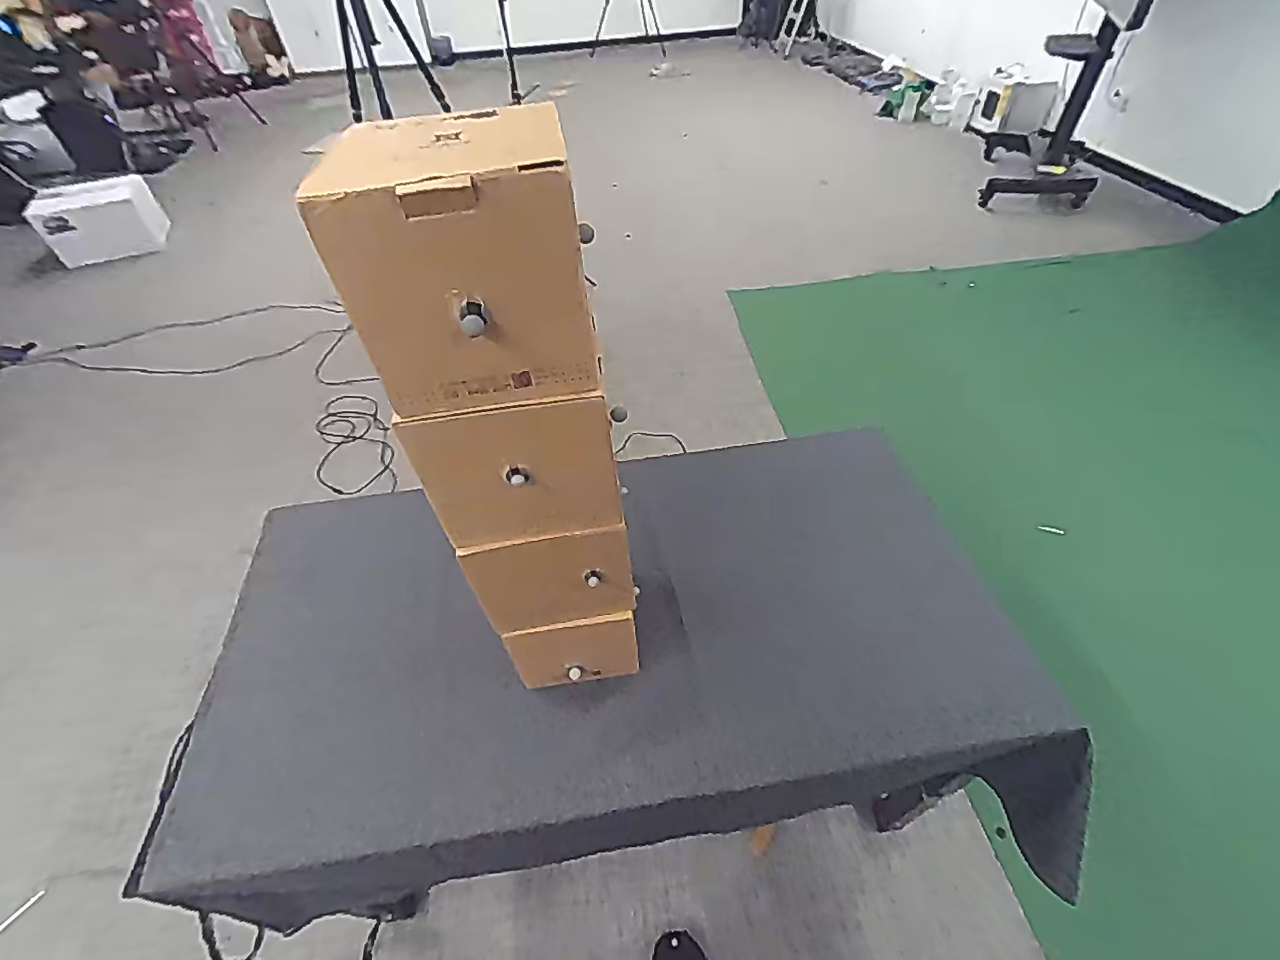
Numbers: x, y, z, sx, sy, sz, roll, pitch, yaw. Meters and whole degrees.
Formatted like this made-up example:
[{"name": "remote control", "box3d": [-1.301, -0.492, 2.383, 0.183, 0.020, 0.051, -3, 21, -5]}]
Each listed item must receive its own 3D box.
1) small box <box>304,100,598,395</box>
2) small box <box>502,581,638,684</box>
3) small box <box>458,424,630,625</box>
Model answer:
[{"name": "small box", "box3d": [-0.130, -0.184, 0.443, 0.168, 0.176, 0.179, -9, 46, -4]}, {"name": "small box", "box3d": [-0.095, 0.169, 0.781, 0.168, 0.176, 0.179, -7, 47, -3]}, {"name": "small box", "box3d": [-0.108, 0.056, 0.665, 0.179, 0.176, 0.168, -9, 46, -4]}]
